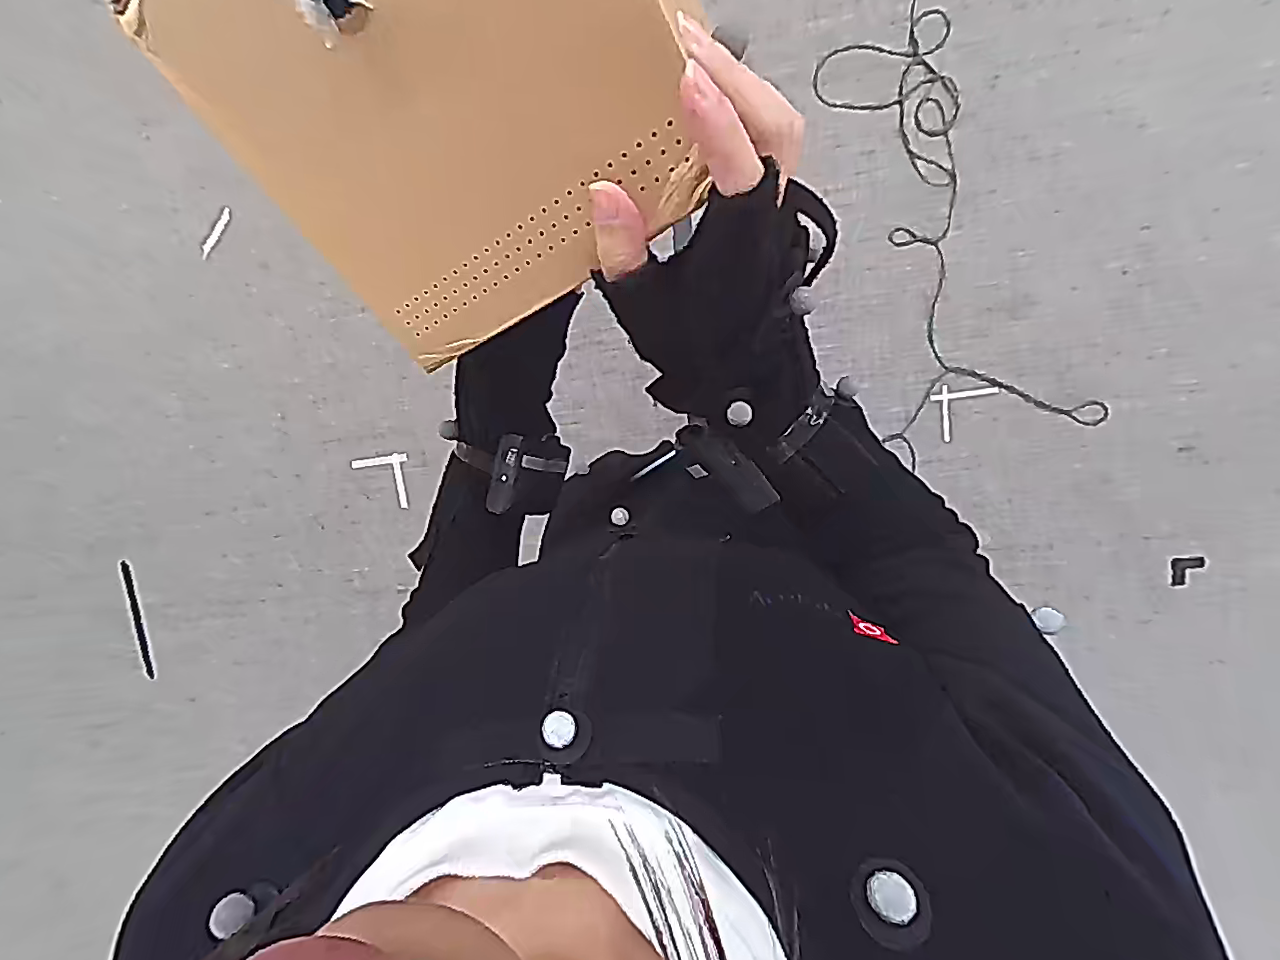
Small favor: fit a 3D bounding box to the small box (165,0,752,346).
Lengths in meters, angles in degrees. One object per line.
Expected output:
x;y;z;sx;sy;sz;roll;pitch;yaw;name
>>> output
-0.061;-0.197;0.272;0.179;0.168;0.176;-20;124;27;small box
